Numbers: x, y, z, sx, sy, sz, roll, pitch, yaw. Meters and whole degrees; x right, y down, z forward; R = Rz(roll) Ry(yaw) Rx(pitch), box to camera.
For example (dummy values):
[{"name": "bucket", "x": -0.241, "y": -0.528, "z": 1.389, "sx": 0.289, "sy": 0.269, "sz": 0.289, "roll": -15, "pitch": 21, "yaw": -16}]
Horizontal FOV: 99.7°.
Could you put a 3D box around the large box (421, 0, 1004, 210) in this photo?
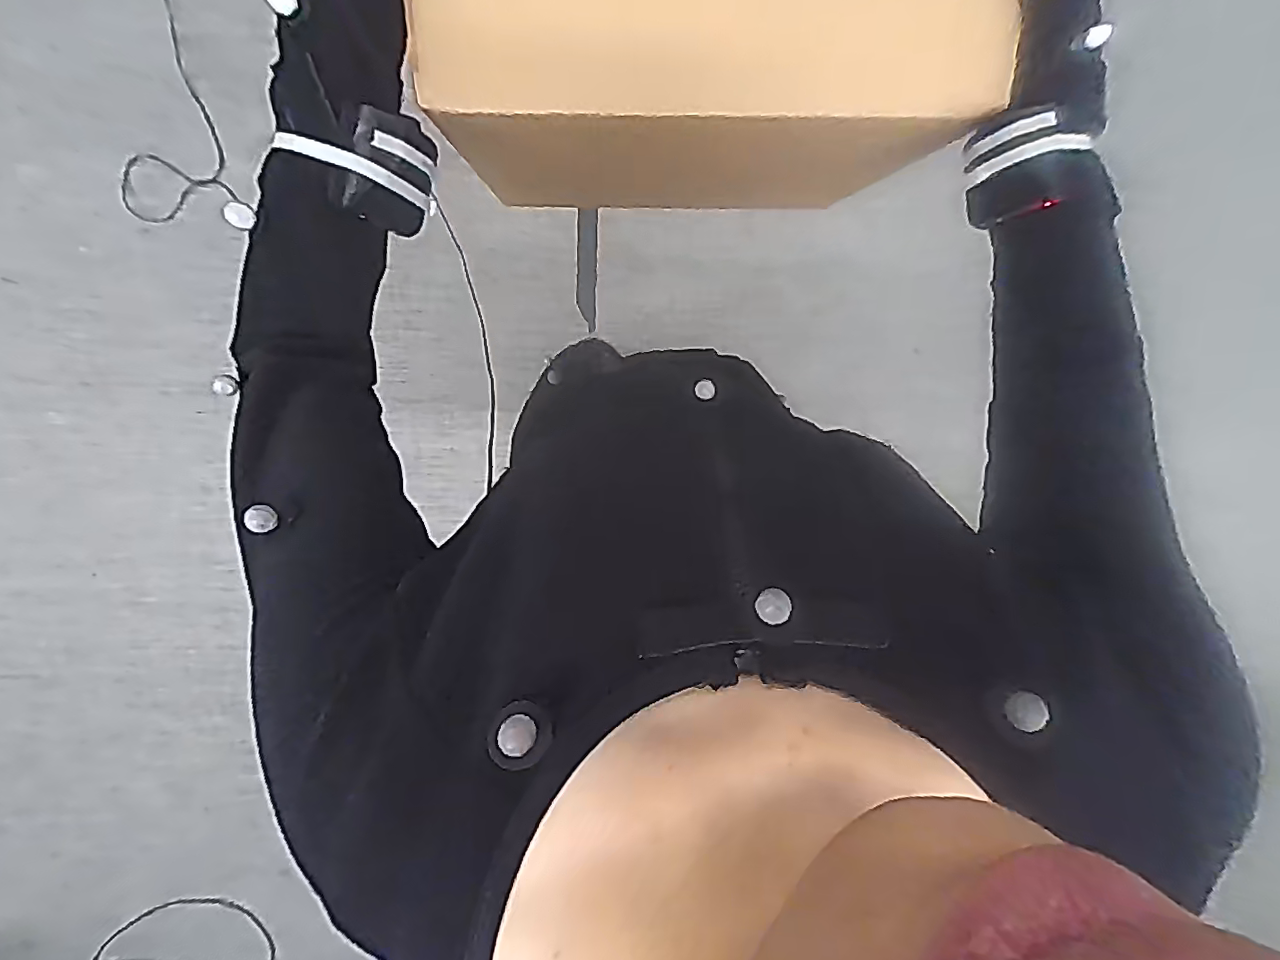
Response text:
[{"name": "large box", "x": 0.041, "y": -0.445, "z": 0.481, "sx": 0.408, "sy": 0.320, "sz": 0.320, "roll": -2, "pitch": 106, "yaw": -3}]
